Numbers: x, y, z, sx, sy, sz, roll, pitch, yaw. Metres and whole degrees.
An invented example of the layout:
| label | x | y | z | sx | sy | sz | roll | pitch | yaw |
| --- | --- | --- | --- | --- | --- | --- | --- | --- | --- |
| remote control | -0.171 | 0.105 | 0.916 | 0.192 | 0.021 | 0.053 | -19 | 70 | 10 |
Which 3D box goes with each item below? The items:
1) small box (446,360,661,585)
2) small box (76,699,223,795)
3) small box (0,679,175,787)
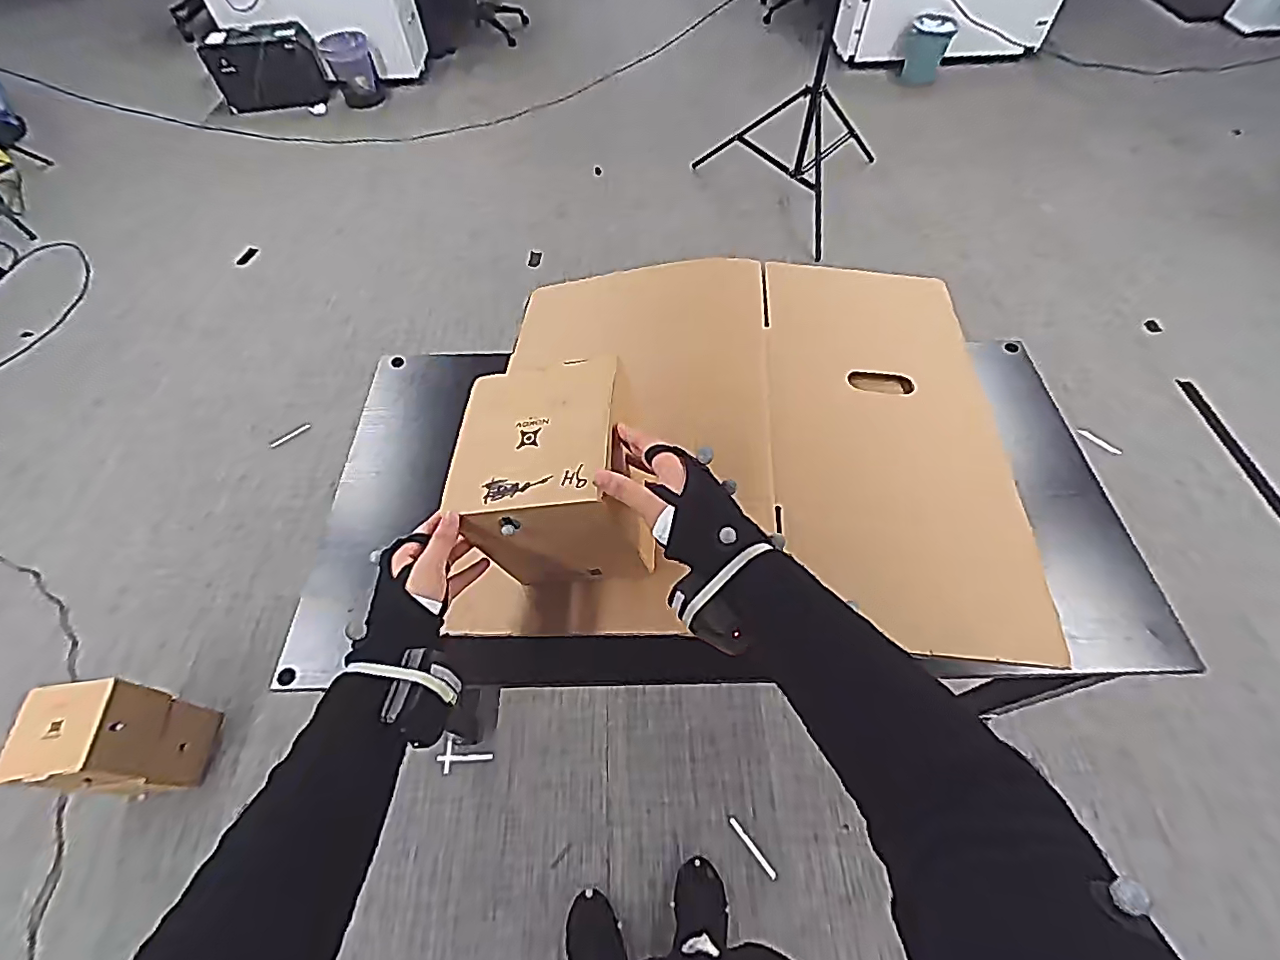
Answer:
| label | x | y | z | sx | sy | sz | roll | pitch | yaw |
| --- | --- | --- | --- | --- | --- | --- | --- | --- | --- |
| small box | -0.078 | -0.001 | 0.596 | 0.168 | 0.176 | 0.179 | -7 | 55 | 16 |
| small box | -1.132 | 0.629 | 1.269 | 0.168 | 0.176 | 0.179 | -5 | 58 | -1 |
| small box | -1.138 | 0.536 | 1.136 | 0.168 | 0.176 | 0.179 | -7 | 56 | -4 |
